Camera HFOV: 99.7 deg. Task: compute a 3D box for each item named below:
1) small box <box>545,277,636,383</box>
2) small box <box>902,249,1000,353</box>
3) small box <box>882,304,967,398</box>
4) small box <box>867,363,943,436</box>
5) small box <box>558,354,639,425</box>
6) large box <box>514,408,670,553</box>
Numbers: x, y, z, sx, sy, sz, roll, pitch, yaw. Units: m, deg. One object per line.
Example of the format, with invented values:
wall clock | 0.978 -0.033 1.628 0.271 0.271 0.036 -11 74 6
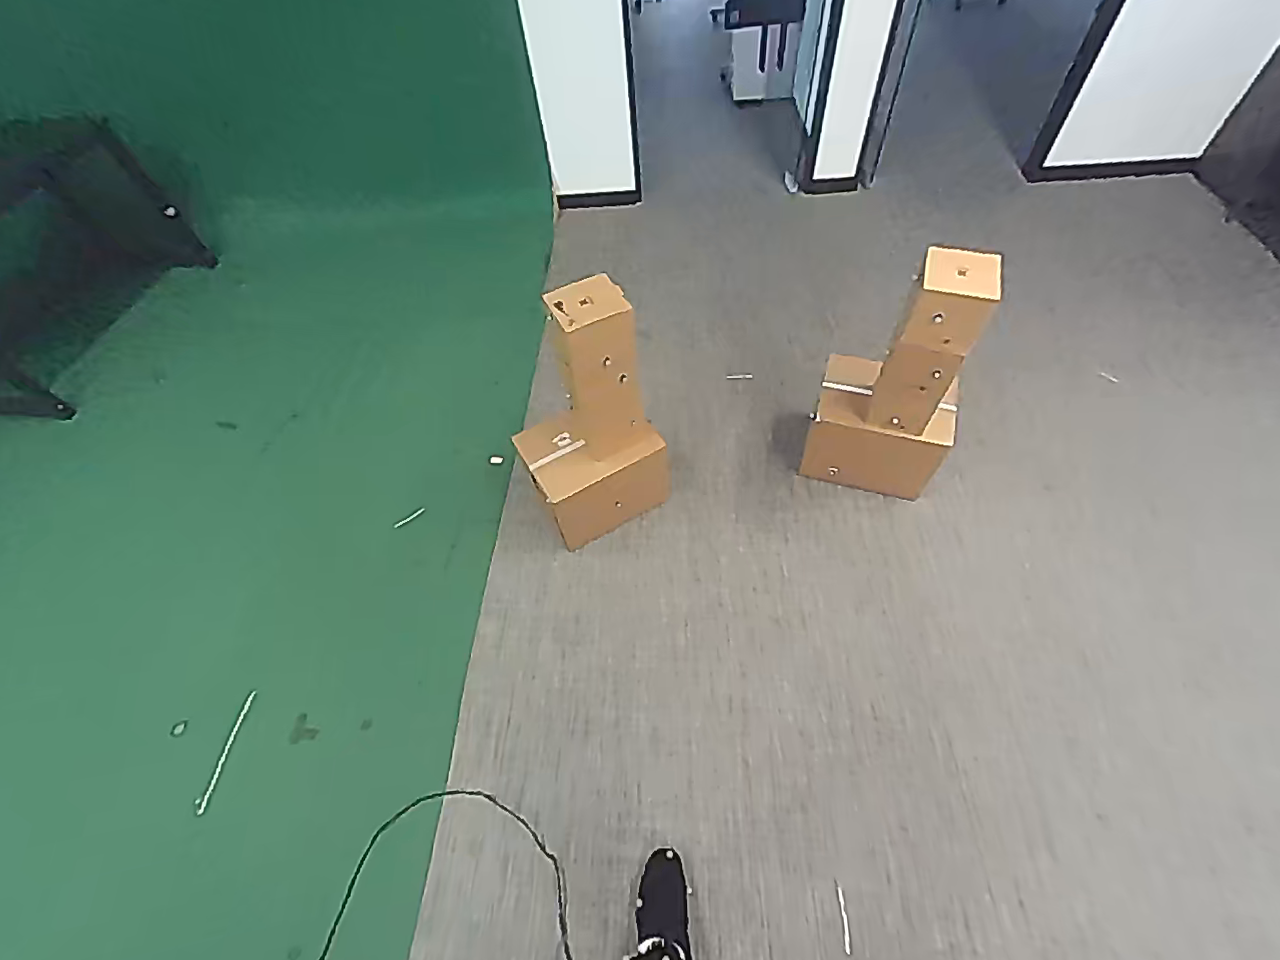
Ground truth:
small box | -0.120 -0.378 1.369 0.179 0.176 0.168 -24 56 -12
small box | 0.765 -0.442 1.343 0.168 0.176 0.179 14 58 14
small box | 0.776 -0.350 1.475 0.168 0.176 0.179 15 58 14
small box | 0.793 -0.262 1.611 0.168 0.176 0.179 16 59 16
small box | -0.111 -0.285 1.505 0.179 0.176 0.168 -24 56 -12
large box | -0.147 -0.025 1.829 0.408 0.320 0.320 -29 56 -14
